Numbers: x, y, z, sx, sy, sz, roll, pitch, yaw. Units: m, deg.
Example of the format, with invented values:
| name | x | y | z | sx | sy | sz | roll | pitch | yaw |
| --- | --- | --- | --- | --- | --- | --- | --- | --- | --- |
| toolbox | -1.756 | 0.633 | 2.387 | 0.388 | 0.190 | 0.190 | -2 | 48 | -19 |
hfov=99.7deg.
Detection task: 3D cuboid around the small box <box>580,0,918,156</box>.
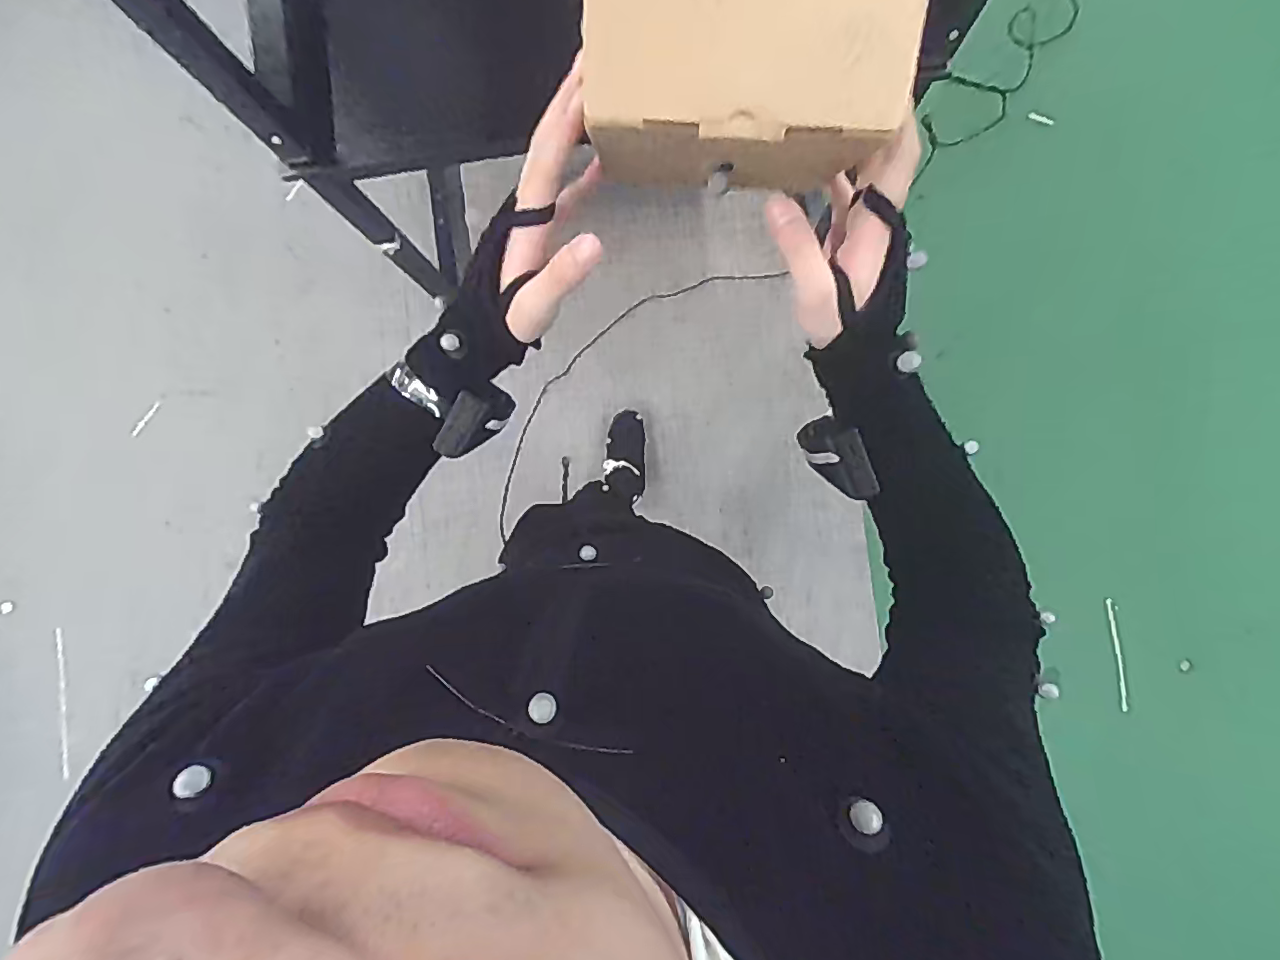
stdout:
| name | x | y | z | sx | sy | sz | roll | pitch | yaw |
| --- | --- | --- | --- | --- | --- | --- | --- | --- | --- |
| small box | 0.058 | -0.305 | 0.319 | 0.168 | 0.176 | 0.179 | 3 | 112 | 1 |
